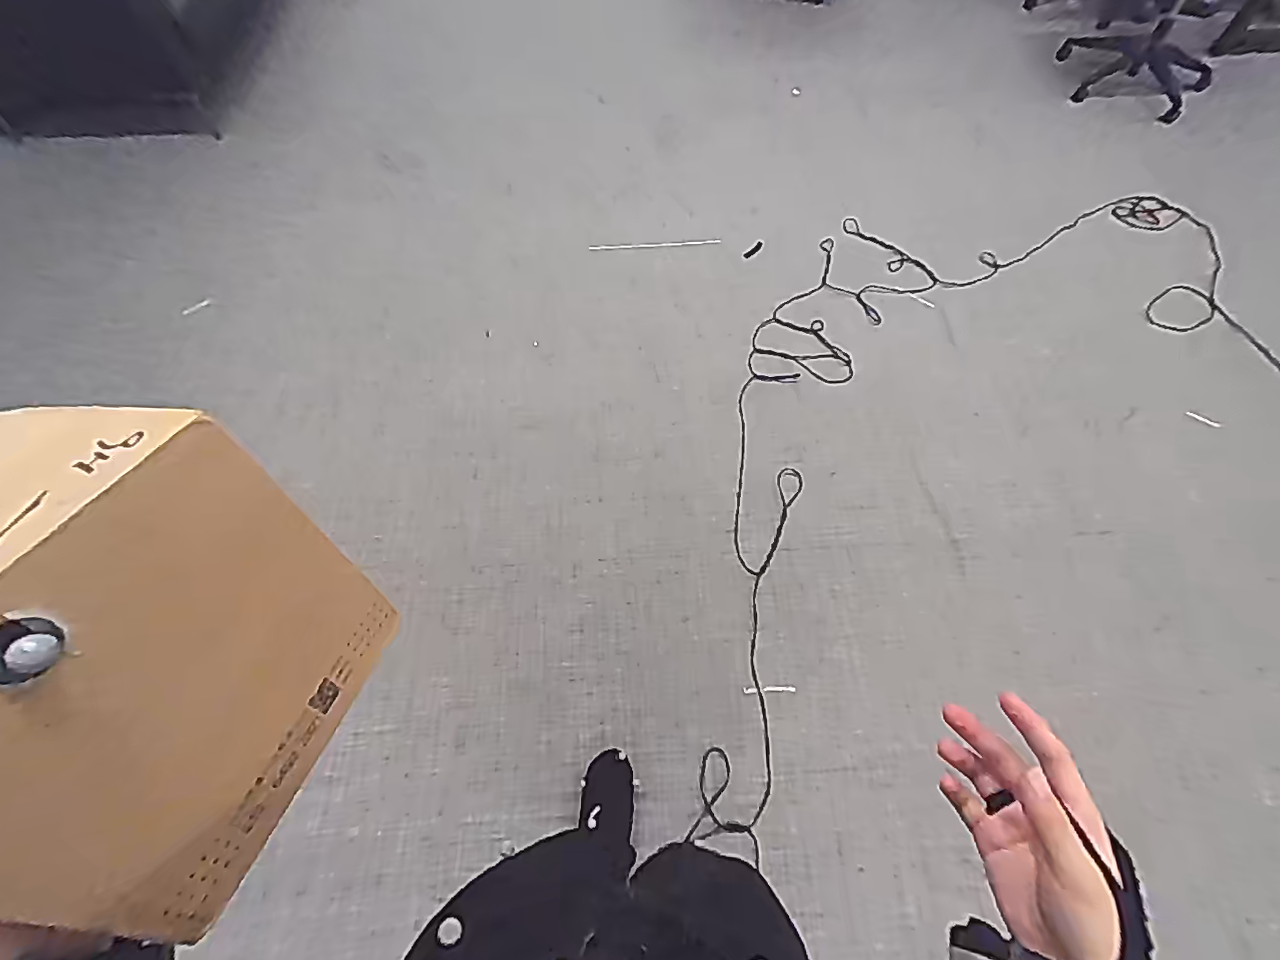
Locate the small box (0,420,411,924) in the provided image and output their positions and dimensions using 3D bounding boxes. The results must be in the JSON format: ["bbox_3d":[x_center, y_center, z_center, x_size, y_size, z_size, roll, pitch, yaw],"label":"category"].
[{"bbox_3d":[-0.258,0.088,0.266,0.179,0.176,0.168,2,47,20],"label":"small box"}]
